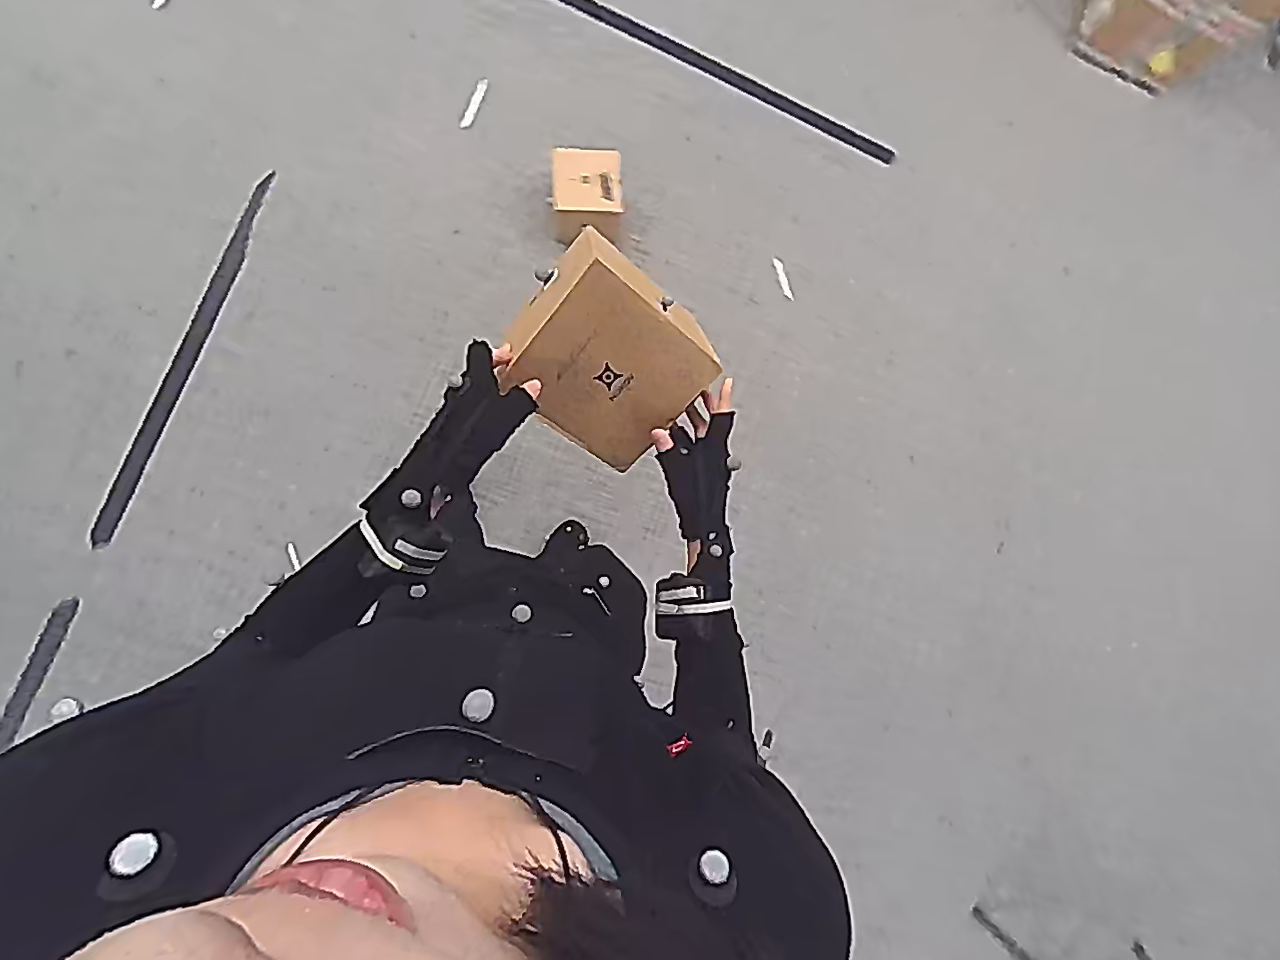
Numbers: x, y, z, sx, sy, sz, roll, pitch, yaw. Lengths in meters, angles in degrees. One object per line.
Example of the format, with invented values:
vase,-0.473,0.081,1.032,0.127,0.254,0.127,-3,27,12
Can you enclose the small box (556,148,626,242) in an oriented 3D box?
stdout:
small box,-0.137,-0.767,1.474,0.179,0.176,0.168,-2,87,-8

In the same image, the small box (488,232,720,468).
small box,-0.044,-0.151,0.602,0.179,0.176,0.168,32,111,-24
